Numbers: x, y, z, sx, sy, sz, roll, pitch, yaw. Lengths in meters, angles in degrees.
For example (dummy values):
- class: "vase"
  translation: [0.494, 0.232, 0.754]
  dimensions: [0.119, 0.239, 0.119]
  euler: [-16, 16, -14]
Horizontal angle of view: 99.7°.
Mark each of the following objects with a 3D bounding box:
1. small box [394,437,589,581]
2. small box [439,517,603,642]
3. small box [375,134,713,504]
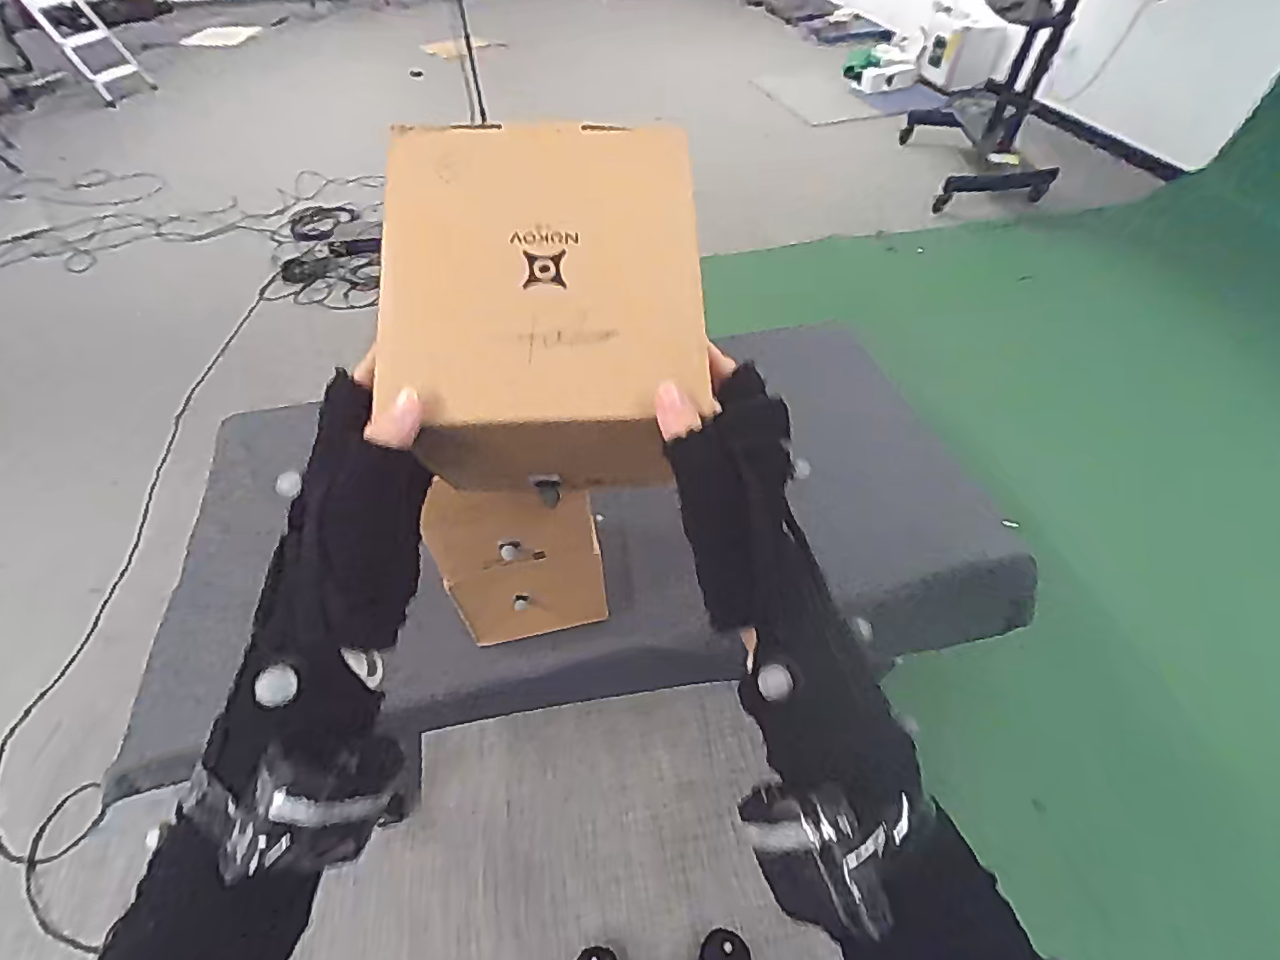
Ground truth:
- class: "small box"
  translation: [-0.152, -0.016, 0.593]
  dimensions: [0.168, 0.176, 0.179]
  euler: [-9, 50, -8]
- class: "small box"
  translation: [-0.151, 0.095, 0.715]
  dimensions: [0.179, 0.176, 0.168]
  euler: [-10, 50, -8]
- class: "small box"
  translation: [-0.052, -0.086, 0.359]
  dimensions: [0.168, 0.176, 0.179]
  euler: [0, 77, -4]
